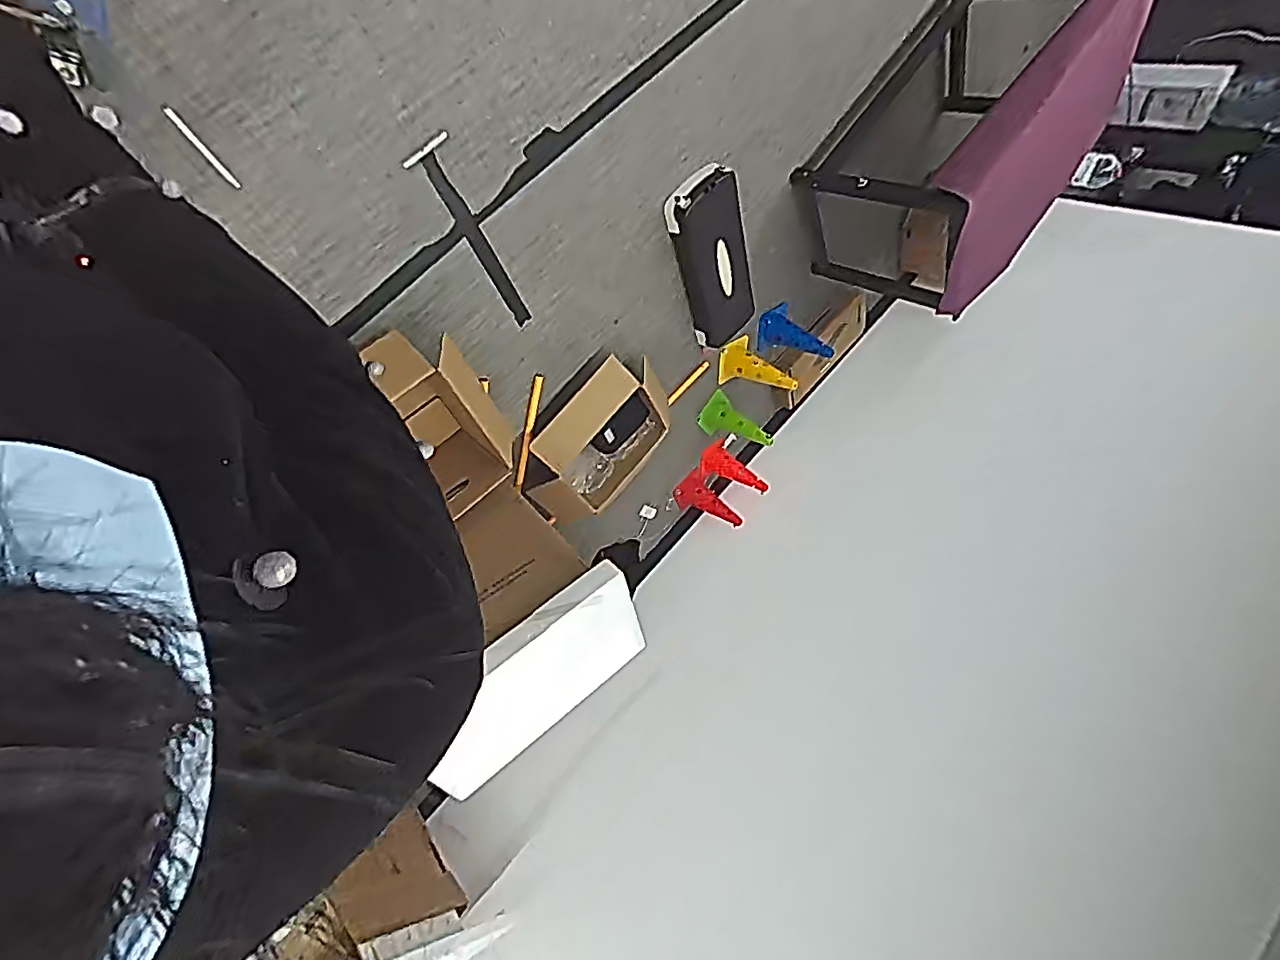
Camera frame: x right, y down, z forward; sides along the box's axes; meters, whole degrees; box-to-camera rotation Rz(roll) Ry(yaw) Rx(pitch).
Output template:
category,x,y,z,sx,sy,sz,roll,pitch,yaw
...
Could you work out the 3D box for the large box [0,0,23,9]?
category,x,y,z,sx,sy,sz,roll,pitch,yaw
large box,-0.834,-0.671,0.442,0.408,0.320,0.320,-10,126,-47
